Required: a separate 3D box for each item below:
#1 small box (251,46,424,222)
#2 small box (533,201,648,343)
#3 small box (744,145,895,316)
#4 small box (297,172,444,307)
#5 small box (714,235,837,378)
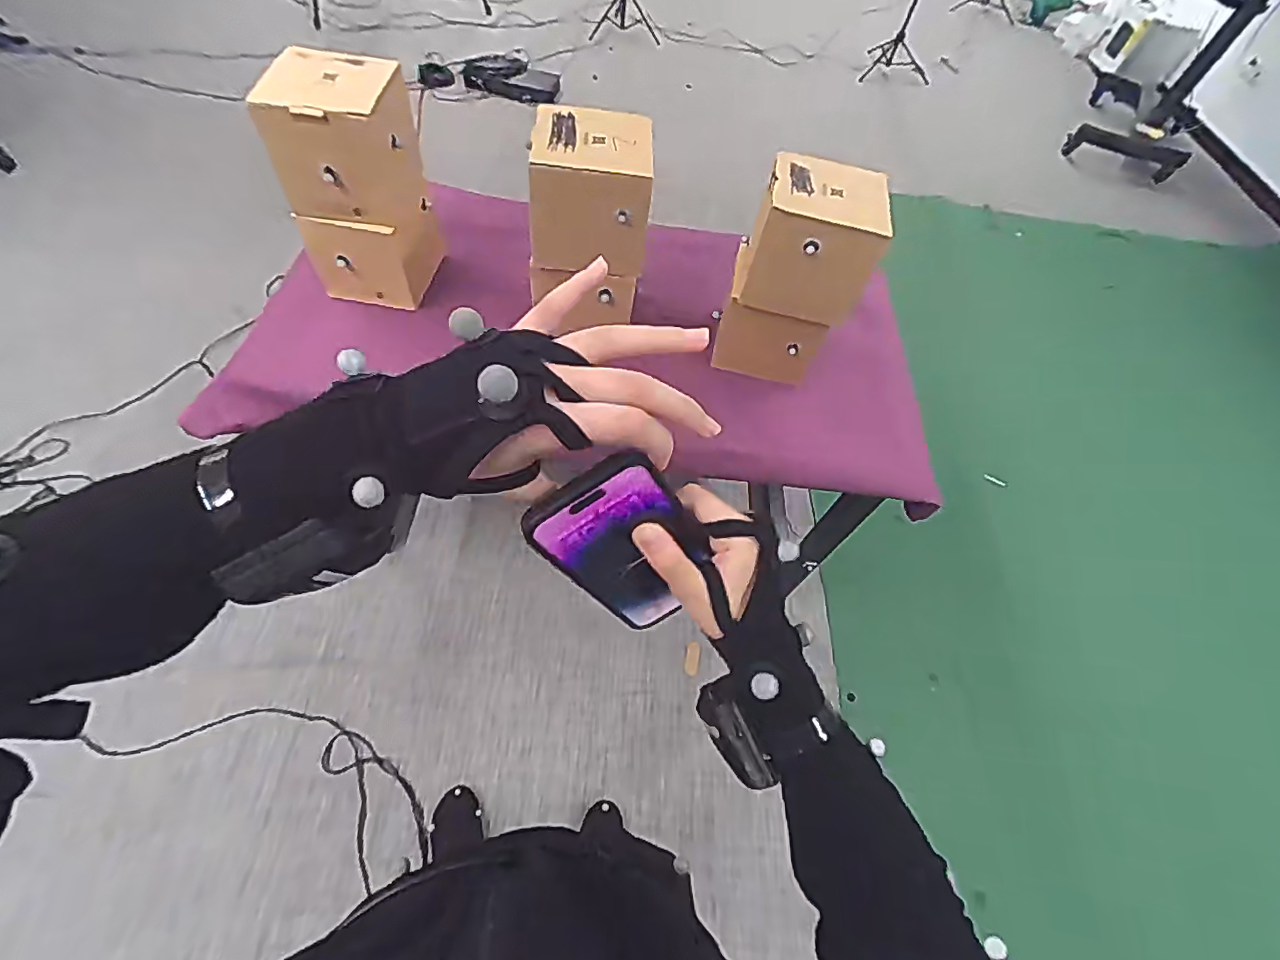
[{"bbox_3d":[-0.455,-0.536,0.850,0.168,0.176,0.179,4,59,-5],"label":"small box"},{"bbox_3d":[-0.088,-0.372,0.986,0.179,0.176,0.168,8,58,-2],"label":"small box"},{"bbox_3d":[0.271,-0.383,0.846,0.179,0.176,0.168,13,58,1],"label":"small box"},{"bbox_3d":[-0.473,-0.443,0.985,0.168,0.176,0.179,9,58,-2],"label":"small box"},{"bbox_3d":[0.247,-0.312,0.992,0.179,0.176,0.168,13,58,2],"label":"small box"}]
